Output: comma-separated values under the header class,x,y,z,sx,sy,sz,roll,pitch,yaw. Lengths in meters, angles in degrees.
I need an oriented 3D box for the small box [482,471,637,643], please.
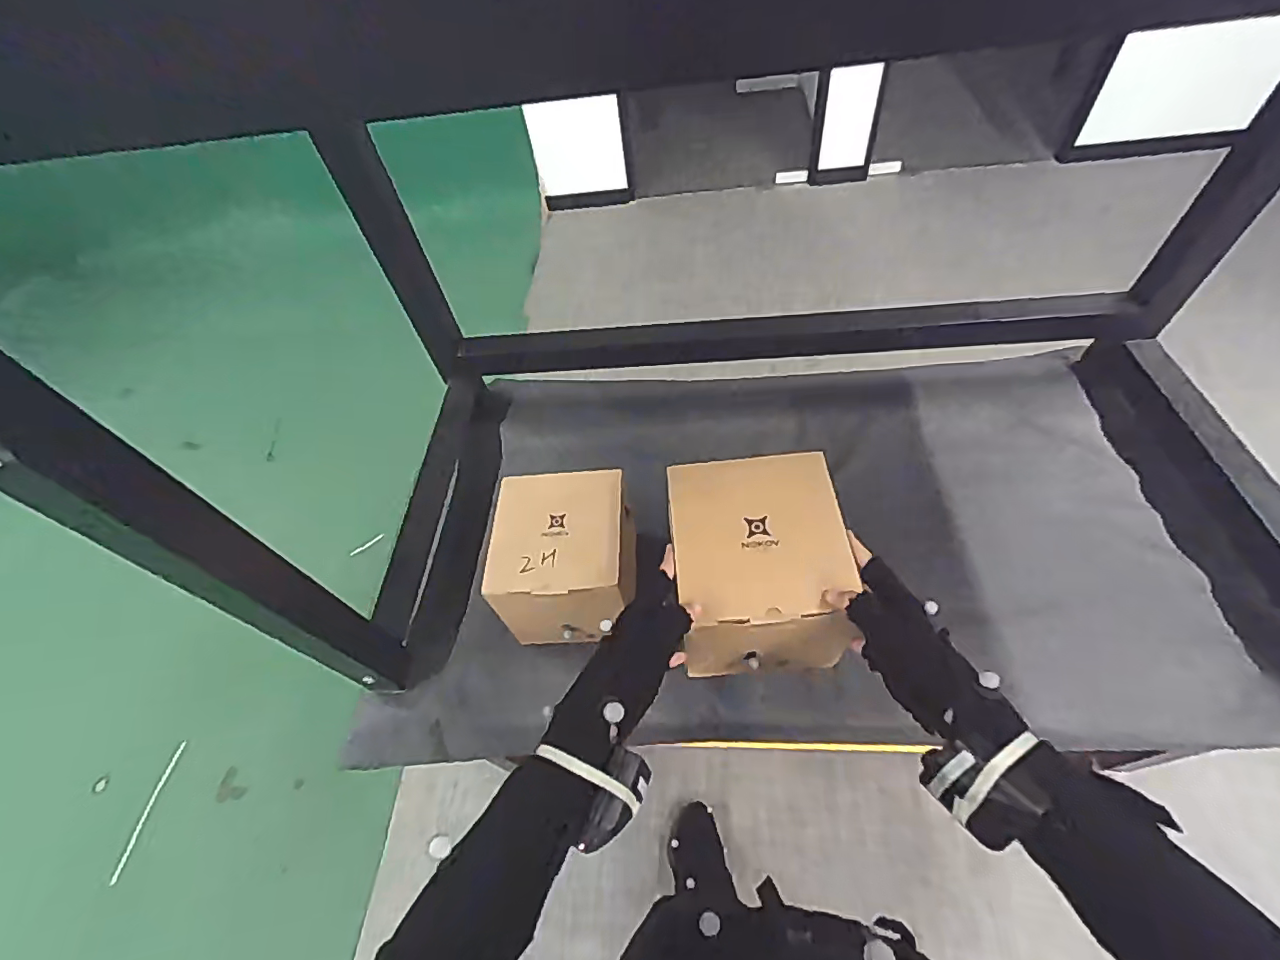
class,x,y,z,sx,sy,sz,roll,pitch,yaw
small box,-0.097,0.108,0.744,0.168,0.176,0.179,-4,53,6
